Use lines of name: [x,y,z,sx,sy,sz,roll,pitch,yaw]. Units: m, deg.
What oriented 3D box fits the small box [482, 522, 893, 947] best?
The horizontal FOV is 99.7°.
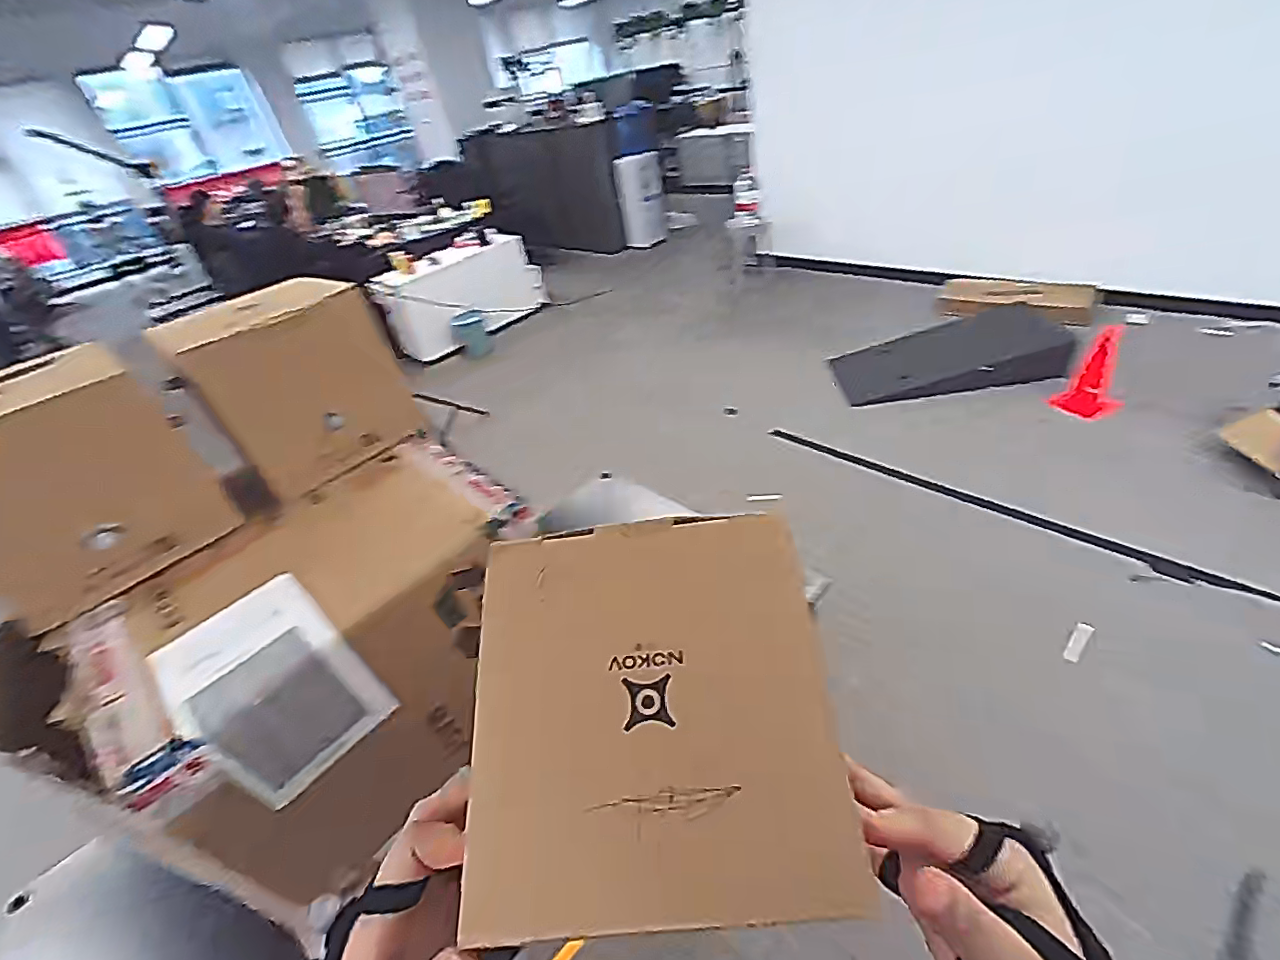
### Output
small box: [0.020,0.145,0.323,0.168,0.176,0.179,-7,59,4]
